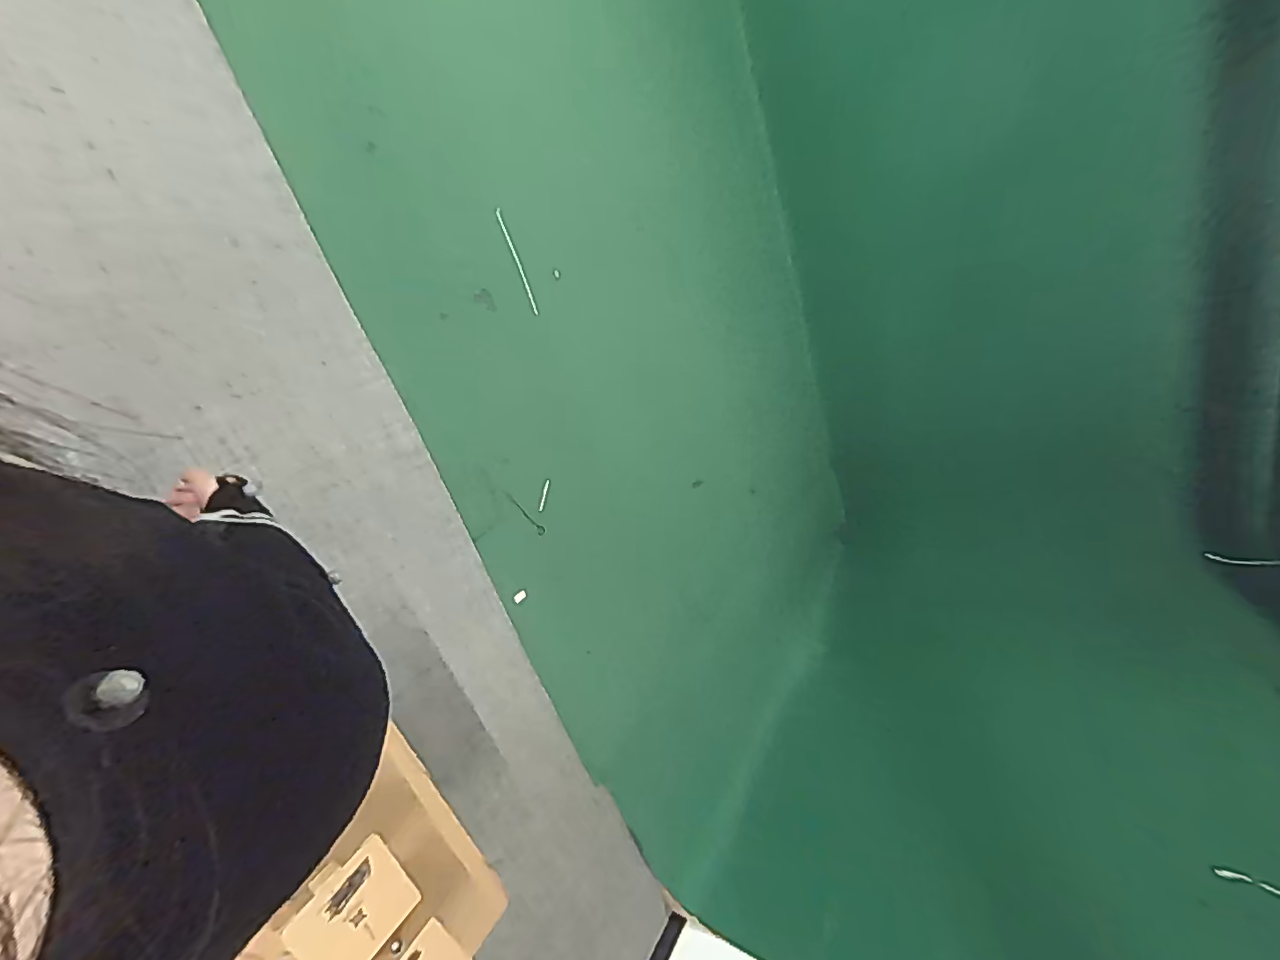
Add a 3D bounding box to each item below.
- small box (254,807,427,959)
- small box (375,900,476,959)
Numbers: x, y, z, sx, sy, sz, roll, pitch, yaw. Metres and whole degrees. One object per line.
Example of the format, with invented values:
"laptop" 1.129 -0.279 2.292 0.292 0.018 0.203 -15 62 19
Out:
"small box" -0.507 0.693 0.915 0.168 0.176 0.179 -40 119 -44
"small box" -0.436 0.889 0.991 0.168 0.176 0.179 -44 122 -44
